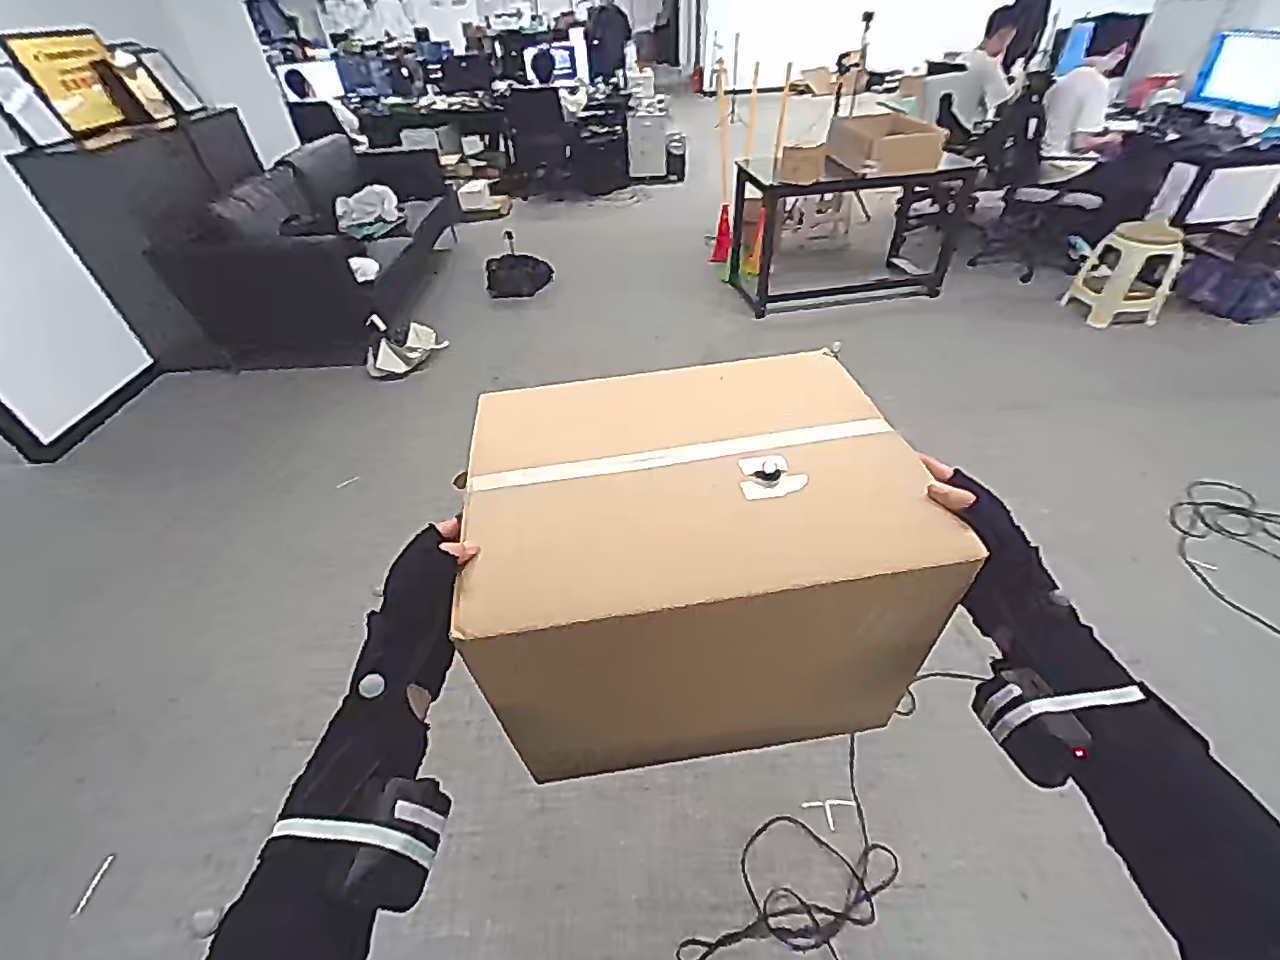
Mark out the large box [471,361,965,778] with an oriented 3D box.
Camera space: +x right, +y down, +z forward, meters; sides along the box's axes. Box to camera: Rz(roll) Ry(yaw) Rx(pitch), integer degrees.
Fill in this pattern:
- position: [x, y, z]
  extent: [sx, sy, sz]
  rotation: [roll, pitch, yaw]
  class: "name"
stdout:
- position: [0.051, 0.096, 0.624]
  extent: [0.408, 0.320, 0.320]
  rotation: [-8, 44, -4]
  class: "large box"
